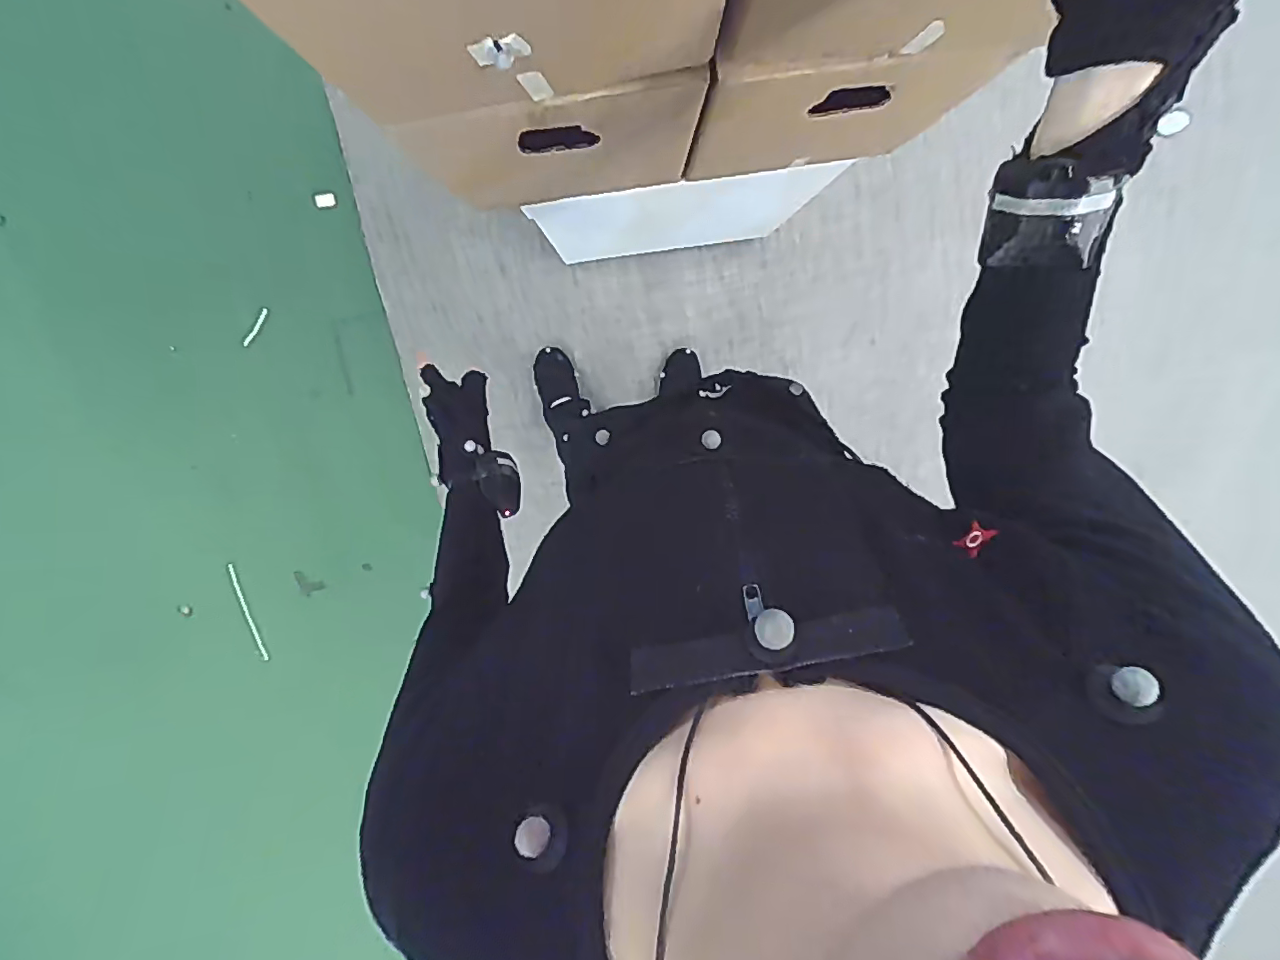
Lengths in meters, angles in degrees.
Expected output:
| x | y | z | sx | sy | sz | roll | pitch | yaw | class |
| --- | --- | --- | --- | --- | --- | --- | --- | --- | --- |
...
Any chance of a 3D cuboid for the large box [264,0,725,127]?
| x | y | z | sx | sy | sz | roll | pitch | yaw | class |
| --- | --- | --- | --- | --- | --- | --- | --- | --- | --- |
| -0.118 | -0.508 | 0.307 | 0.320 | 0.320 | 0.408 | -10 | 101 | 1 | large box |
